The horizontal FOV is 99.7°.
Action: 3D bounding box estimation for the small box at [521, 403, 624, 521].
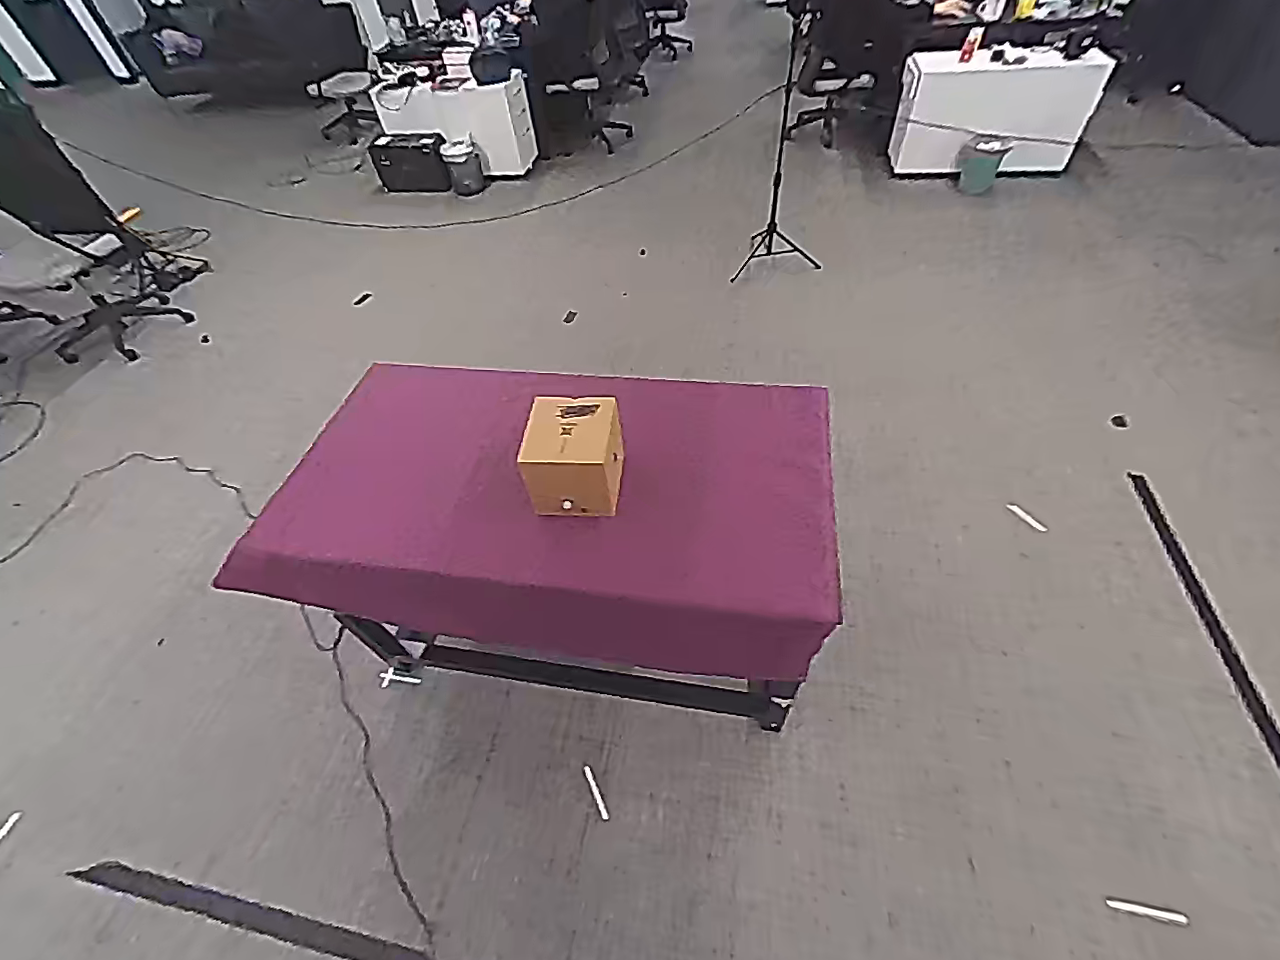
[{"bbox_3d":[-0.127,-0.037,1.103,0.168,0.176,0.179,1,51,7],"label":"small box"}]
